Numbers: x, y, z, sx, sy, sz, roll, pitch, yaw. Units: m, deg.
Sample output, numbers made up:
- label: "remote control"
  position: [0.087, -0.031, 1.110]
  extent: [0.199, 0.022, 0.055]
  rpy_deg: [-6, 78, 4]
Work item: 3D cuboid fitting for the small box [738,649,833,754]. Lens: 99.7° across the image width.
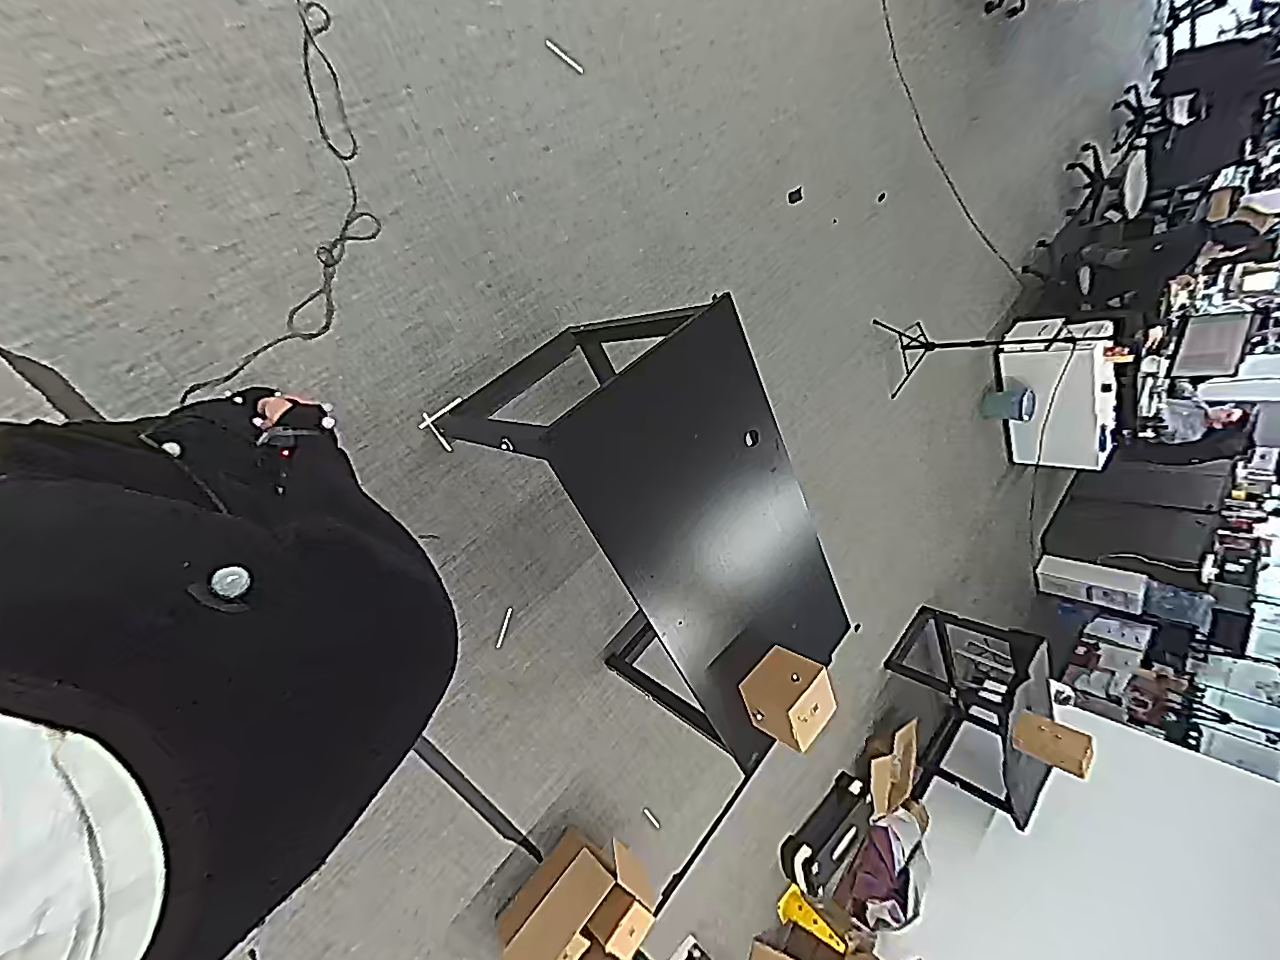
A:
- label: "small box"
  position: [0.402, 0.602, 1.496]
  extent: [0.179, 0.176, 0.168]
  rpy_deg: [-35, 116, -29]
